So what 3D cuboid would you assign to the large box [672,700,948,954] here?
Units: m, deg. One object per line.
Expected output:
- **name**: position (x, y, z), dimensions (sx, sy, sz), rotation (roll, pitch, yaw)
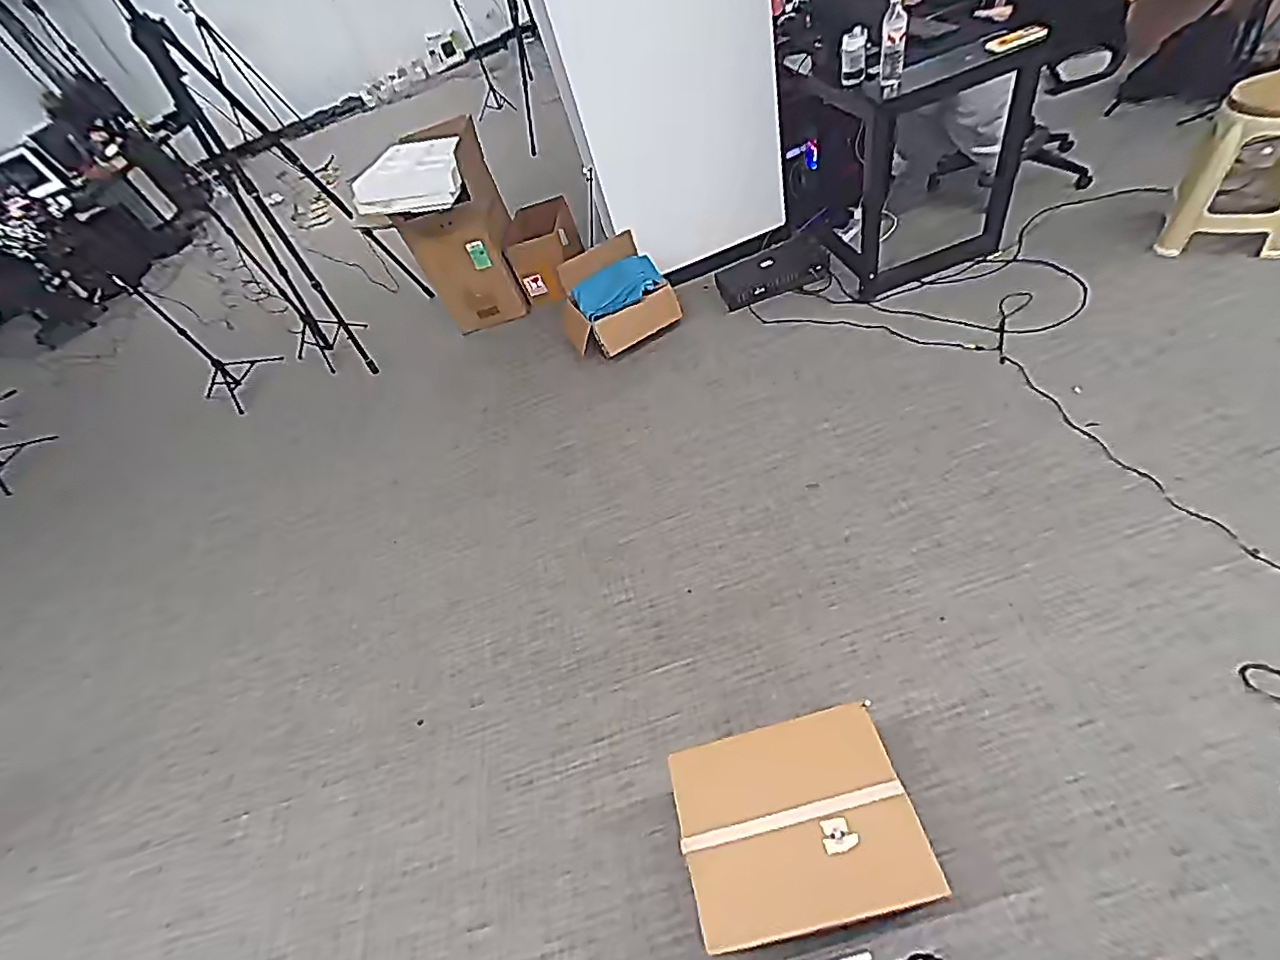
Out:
- **large box**: position (0.315, 0.696, 1.080), dimensions (0.408, 0.320, 0.320), rotation (-18, 48, 4)
